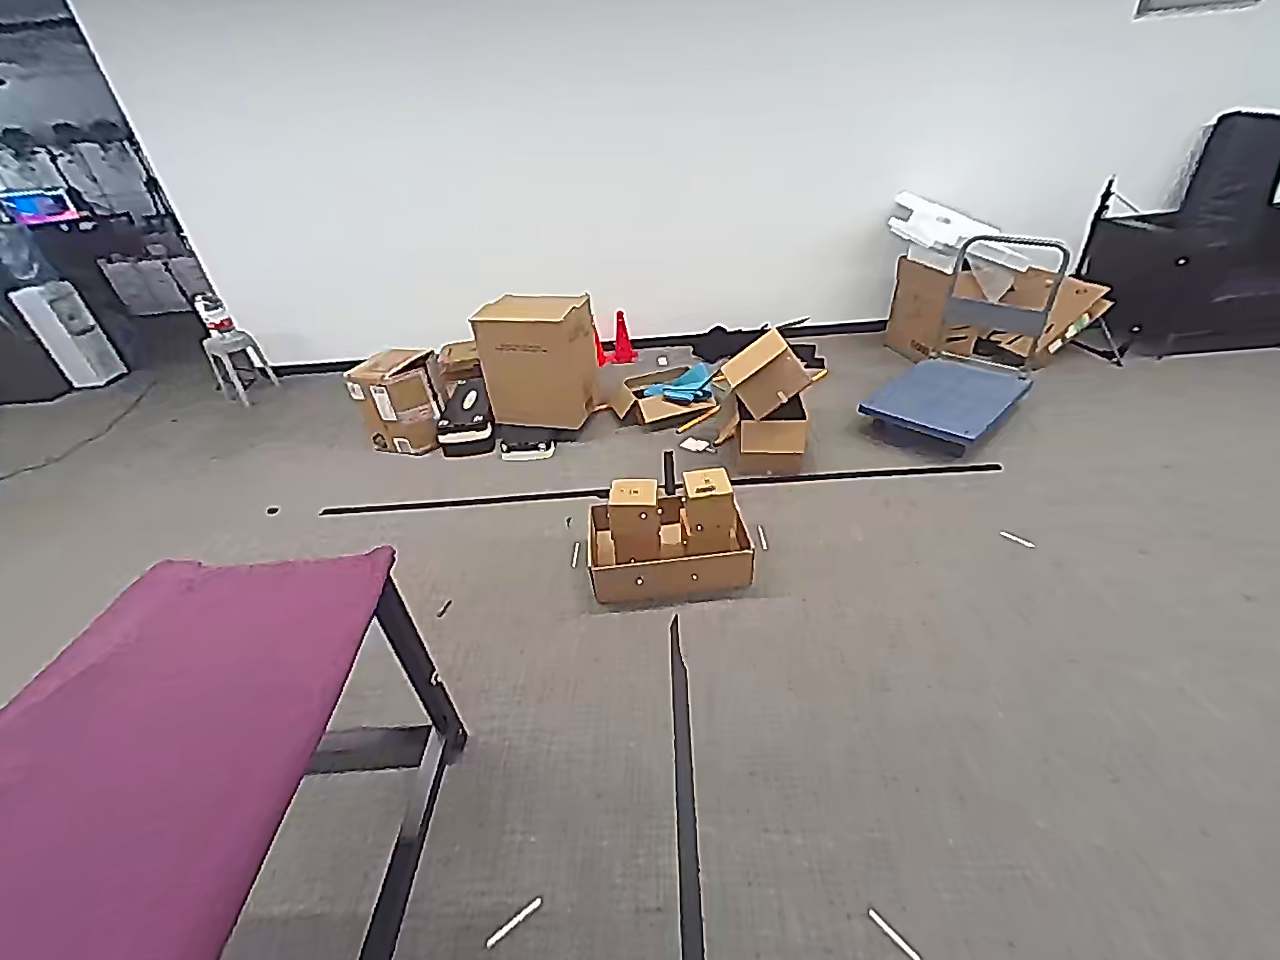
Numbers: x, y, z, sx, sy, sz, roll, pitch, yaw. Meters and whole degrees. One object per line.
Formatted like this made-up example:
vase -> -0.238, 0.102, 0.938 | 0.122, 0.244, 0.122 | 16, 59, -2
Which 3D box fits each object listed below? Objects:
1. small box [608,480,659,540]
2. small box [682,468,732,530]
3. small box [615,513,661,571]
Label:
small box -> -0.020, 0.115, 2.050 | 0.179, 0.176, 0.168 | -1, 34, 5
small box -> 0.257, 0.077, 2.063 | 0.168, 0.176, 0.179 | -7, 33, -1
small box -> -0.006, 0.242, 2.157 | 0.168, 0.176, 0.179 | 1, 34, 6
